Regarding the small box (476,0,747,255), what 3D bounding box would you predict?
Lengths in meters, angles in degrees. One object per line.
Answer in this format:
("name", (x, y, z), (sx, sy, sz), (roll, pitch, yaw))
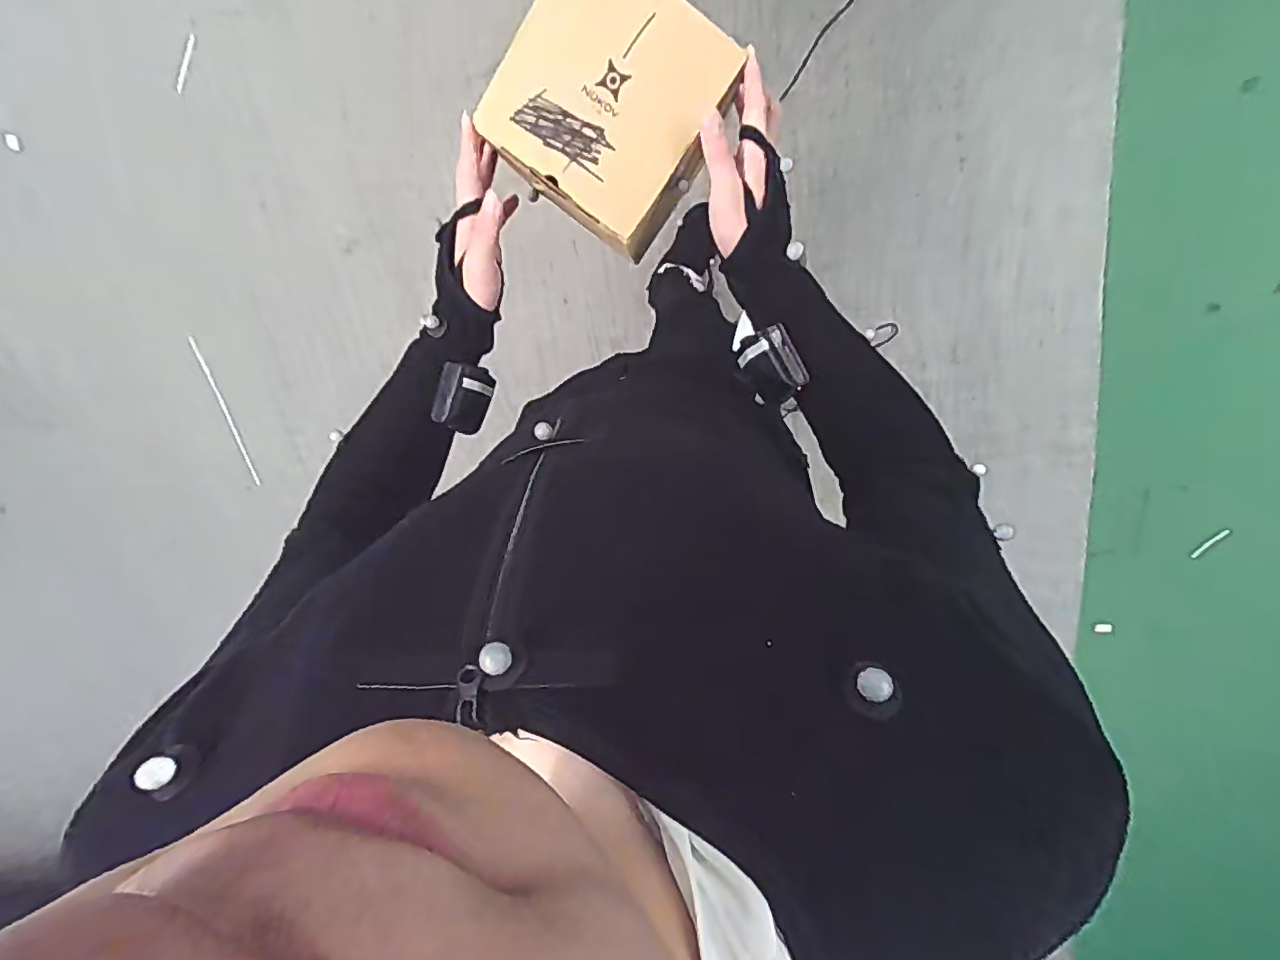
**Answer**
("small box", (-0.022, -0.346, 0.524), (0.168, 0.176, 0.179), (35, 103, -7))
